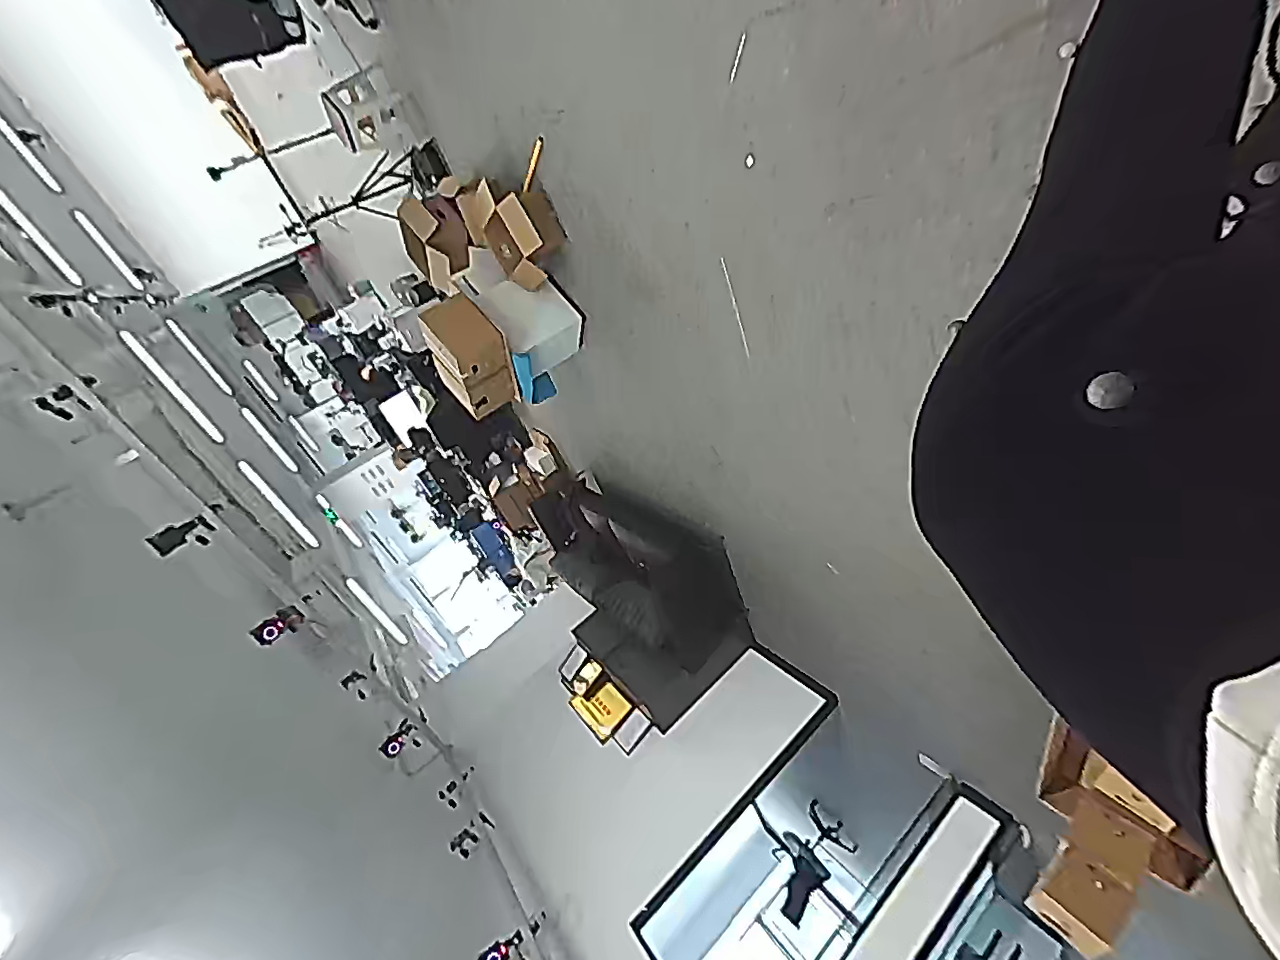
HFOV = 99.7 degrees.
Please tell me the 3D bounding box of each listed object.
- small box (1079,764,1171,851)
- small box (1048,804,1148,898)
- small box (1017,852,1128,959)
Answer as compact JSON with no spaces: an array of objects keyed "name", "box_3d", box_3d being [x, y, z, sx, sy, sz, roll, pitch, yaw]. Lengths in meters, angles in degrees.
[{"name":"small box","box_3d":[1.433,0.999,1.611,0.168,0.176,0.179,27,145,49]},{"name":"small box","box_3d":[1.309,1.084,1.549,0.168,0.176,0.179,27,145,50]},{"name":"small box","box_3d":[1.188,1.176,1.487,0.168,0.176,0.179,34,149,42]}]
